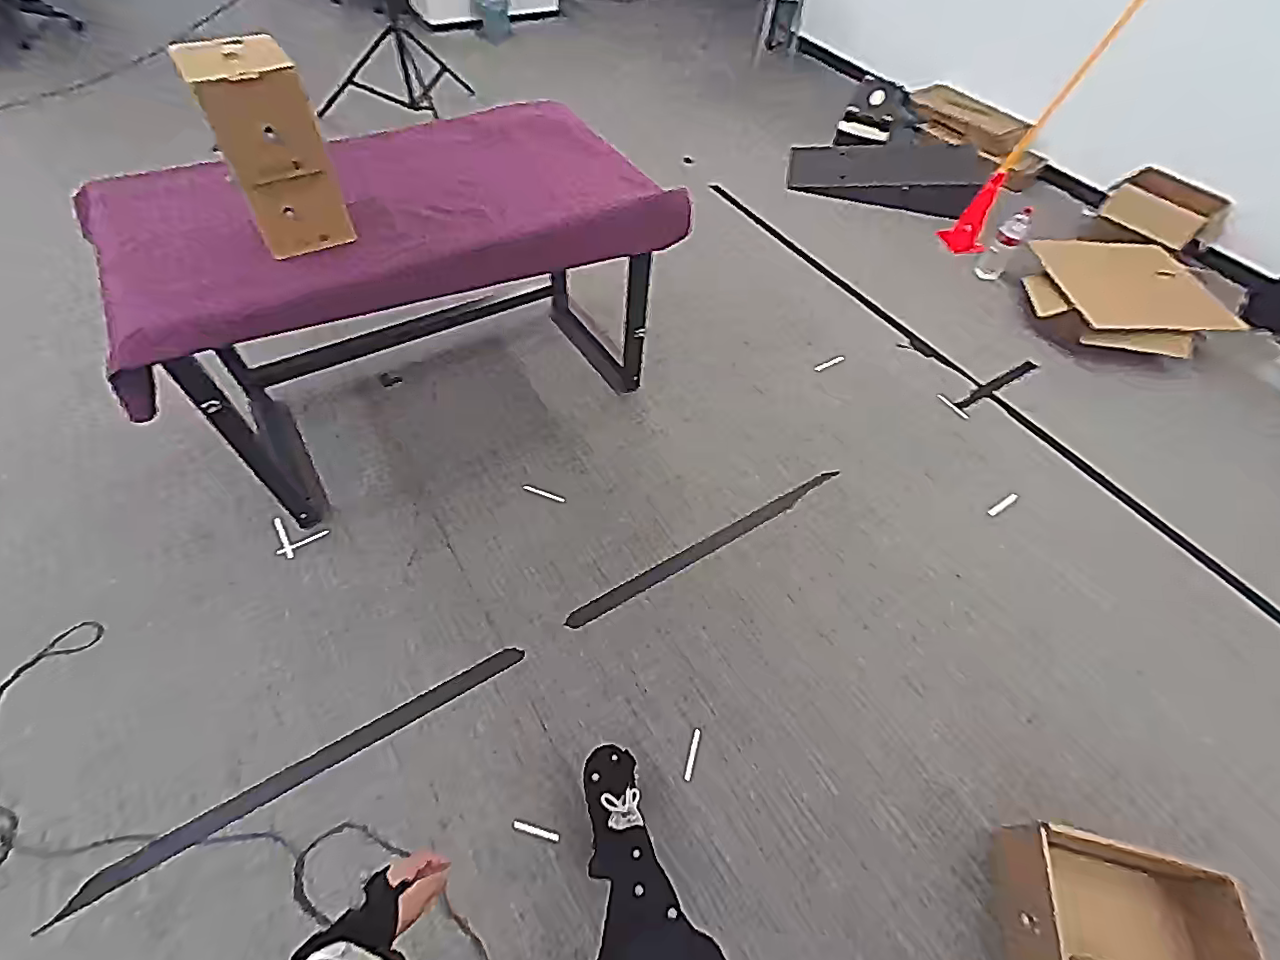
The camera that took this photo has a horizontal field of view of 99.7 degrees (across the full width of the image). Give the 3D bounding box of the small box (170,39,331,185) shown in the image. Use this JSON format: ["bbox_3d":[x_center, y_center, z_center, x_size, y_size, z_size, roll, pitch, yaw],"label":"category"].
[{"bbox_3d":[-0.705,-0.670,0.995,0.168,0.176,0.179,-28,63,-22],"label":"small box"}]

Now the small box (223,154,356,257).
[{"bbox_3d":[-0.732,-0.594,1.141,0.168,0.176,0.179,-27,61,-22],"label":"small box"}]
